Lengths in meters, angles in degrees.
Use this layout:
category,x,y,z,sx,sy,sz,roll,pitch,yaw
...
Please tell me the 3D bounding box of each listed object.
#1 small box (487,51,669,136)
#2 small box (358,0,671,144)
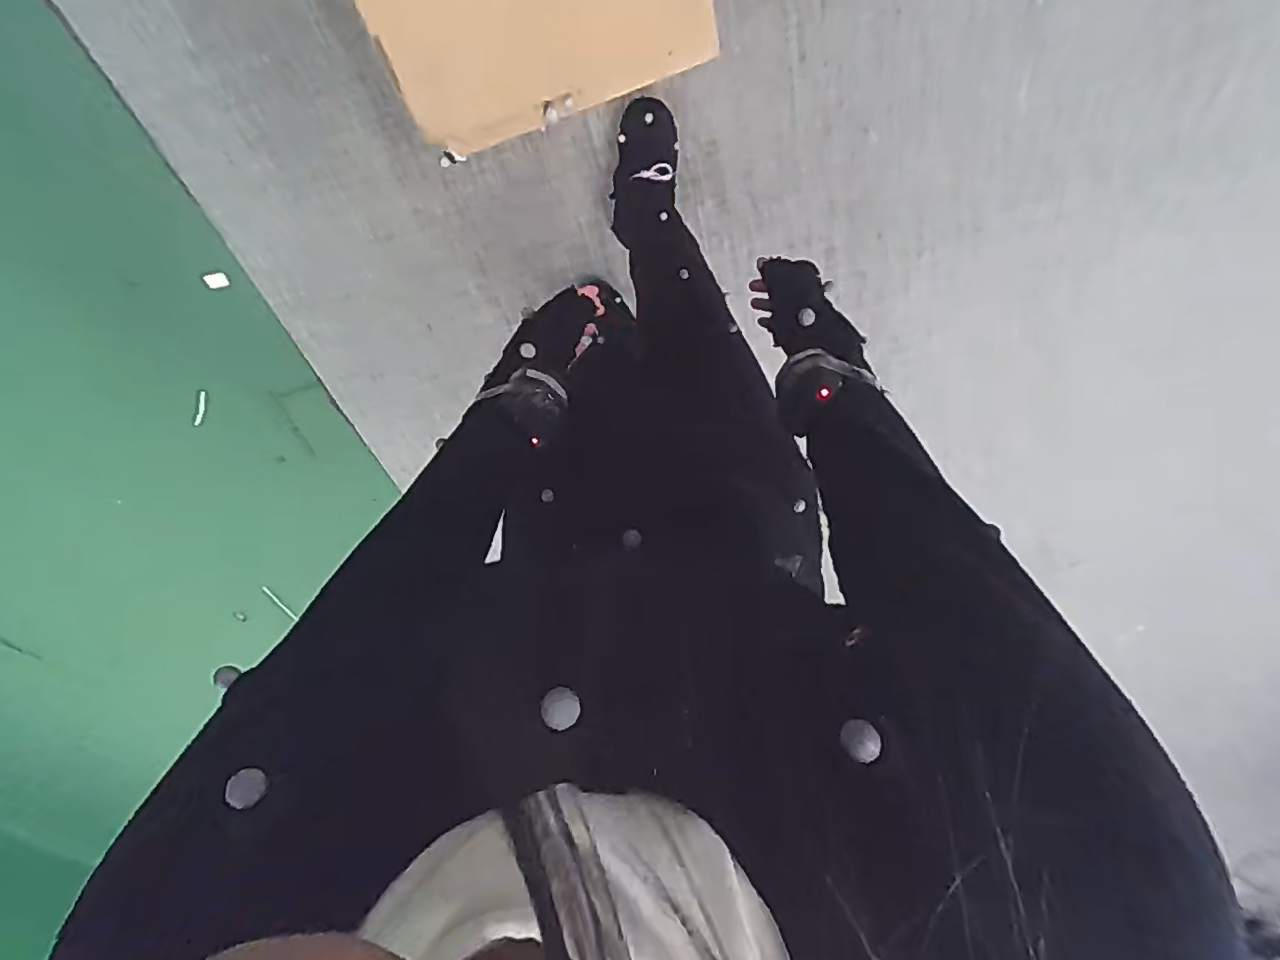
category,x,y,z,sx,sy,sz,roll,pitch,yaw
small box,-0.085,-0.448,0.495,0.179,0.176,0.168,-17,127,11
small box,-0.085,-0.353,0.364,0.179,0.176,0.168,-14,128,9
